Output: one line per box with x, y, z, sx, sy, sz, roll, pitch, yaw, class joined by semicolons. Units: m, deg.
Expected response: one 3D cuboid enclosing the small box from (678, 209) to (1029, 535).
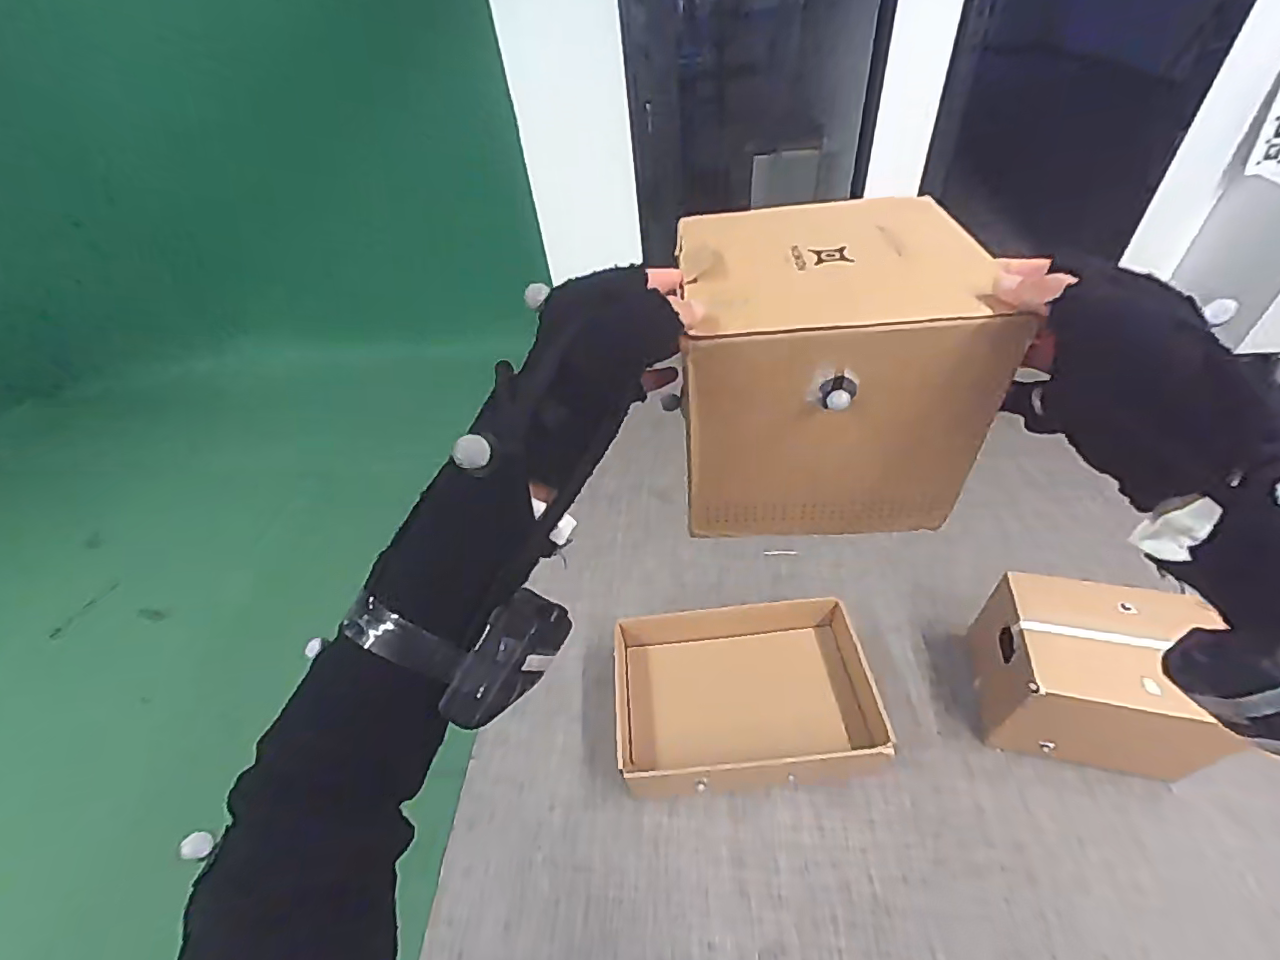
0.120;-0.073;0.387;0.179;0.176;0.168;-2;45;5;small box
